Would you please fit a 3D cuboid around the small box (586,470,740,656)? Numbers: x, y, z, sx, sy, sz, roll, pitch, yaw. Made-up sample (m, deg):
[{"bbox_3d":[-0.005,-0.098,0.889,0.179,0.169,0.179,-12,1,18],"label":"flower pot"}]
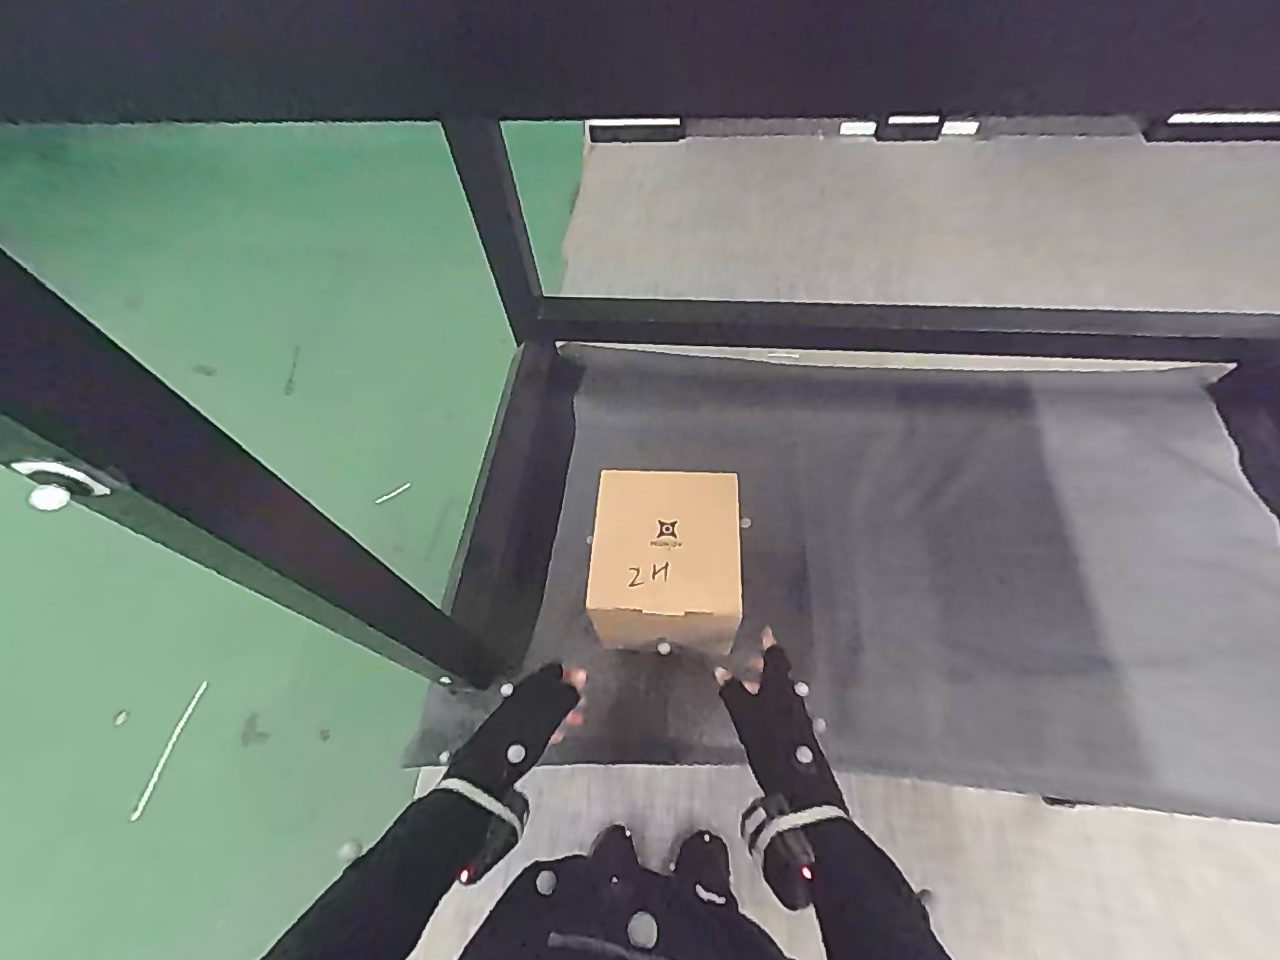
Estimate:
[{"bbox_3d":[0.034,0.106,0.678,0.168,0.176,0.179,2,57,5],"label":"small box"}]
